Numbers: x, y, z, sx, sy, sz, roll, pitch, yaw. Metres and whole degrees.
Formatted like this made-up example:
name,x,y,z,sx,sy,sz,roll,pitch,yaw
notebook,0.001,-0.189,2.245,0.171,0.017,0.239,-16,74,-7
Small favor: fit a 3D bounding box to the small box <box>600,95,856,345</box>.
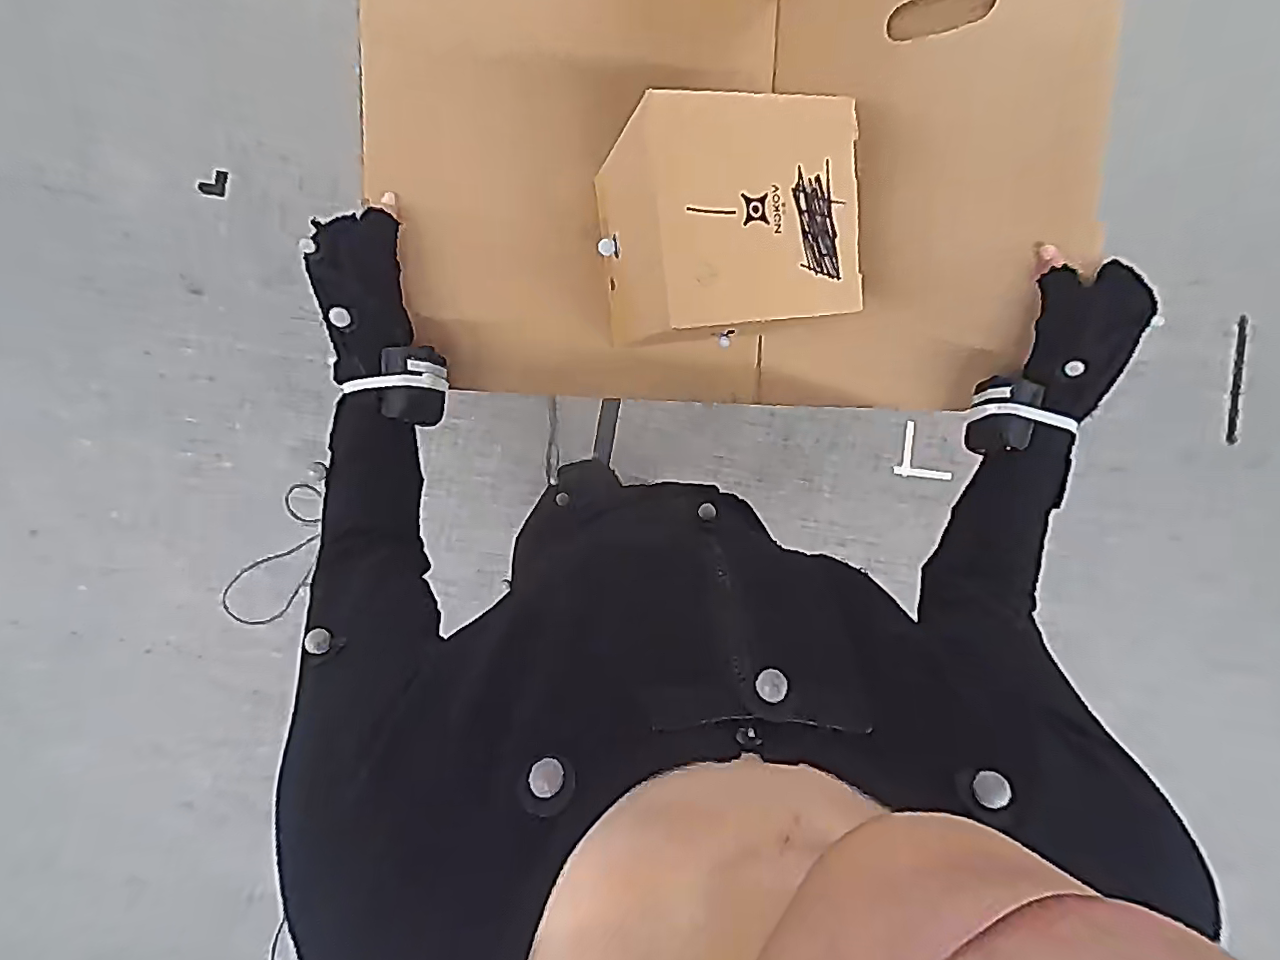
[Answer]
name,x,y,z,sx,sy,sz,roll,pitch,yaw
small box,0.073,-0.221,0.502,0.179,0.176,0.168,-9,100,-16
